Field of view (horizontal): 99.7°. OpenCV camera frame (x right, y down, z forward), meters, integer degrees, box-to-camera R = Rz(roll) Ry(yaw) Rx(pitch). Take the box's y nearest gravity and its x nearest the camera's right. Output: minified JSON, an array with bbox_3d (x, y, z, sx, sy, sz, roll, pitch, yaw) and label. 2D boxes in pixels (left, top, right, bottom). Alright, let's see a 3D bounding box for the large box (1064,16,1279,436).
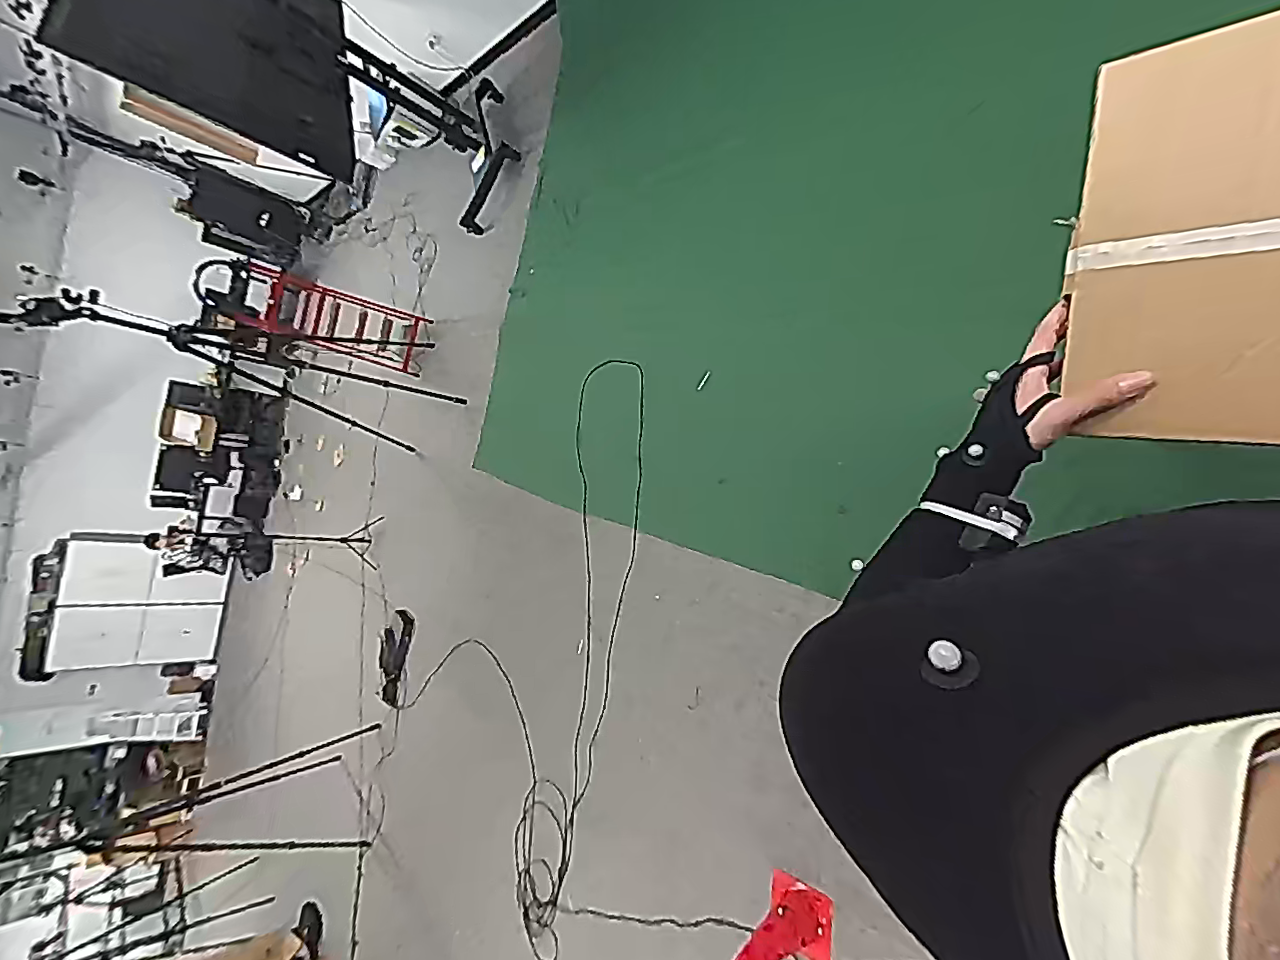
[{"bbox_3d":[0.642,-0.196,0.466,0.408,0.320,0.320,8,101,42],"label":"large box"}]
